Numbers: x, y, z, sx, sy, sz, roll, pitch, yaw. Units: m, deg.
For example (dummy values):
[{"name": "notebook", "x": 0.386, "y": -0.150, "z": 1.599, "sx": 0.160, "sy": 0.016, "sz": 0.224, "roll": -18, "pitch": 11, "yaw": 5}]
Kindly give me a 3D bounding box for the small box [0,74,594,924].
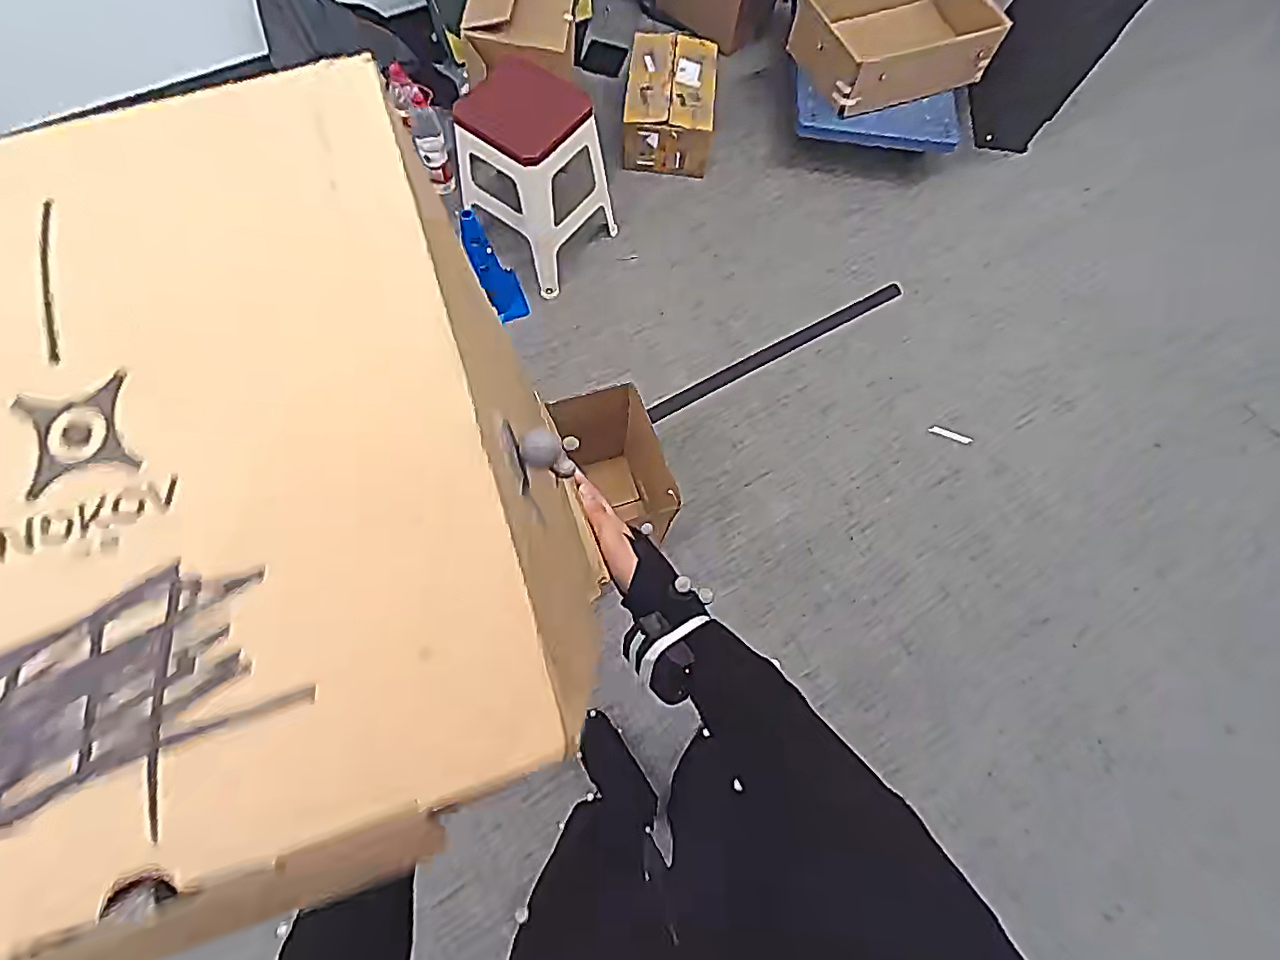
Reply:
[{"name": "small box", "x": -0.119, "y": 0.010, "z": 0.204, "sx": 0.168, "sy": 0.176, "sz": 0.179, "roll": -18, "pitch": 81, "yaw": -5}]
